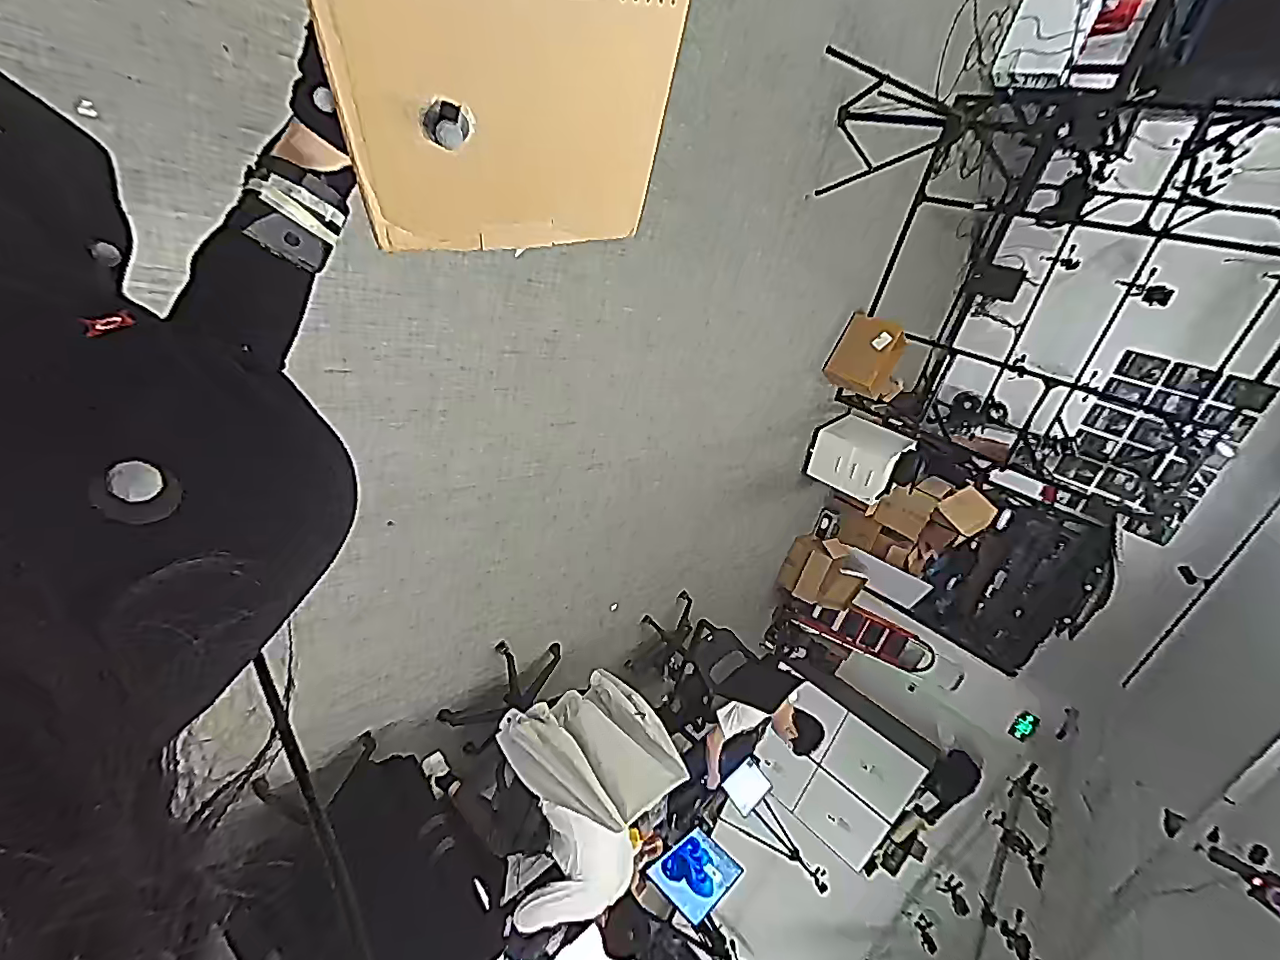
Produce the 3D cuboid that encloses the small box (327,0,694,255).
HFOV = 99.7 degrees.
[{"bbox_3d":[-0.082,-0.257,0.302,0.168,0.179,0.176,-12,156,-21],"label":"small box"}]
